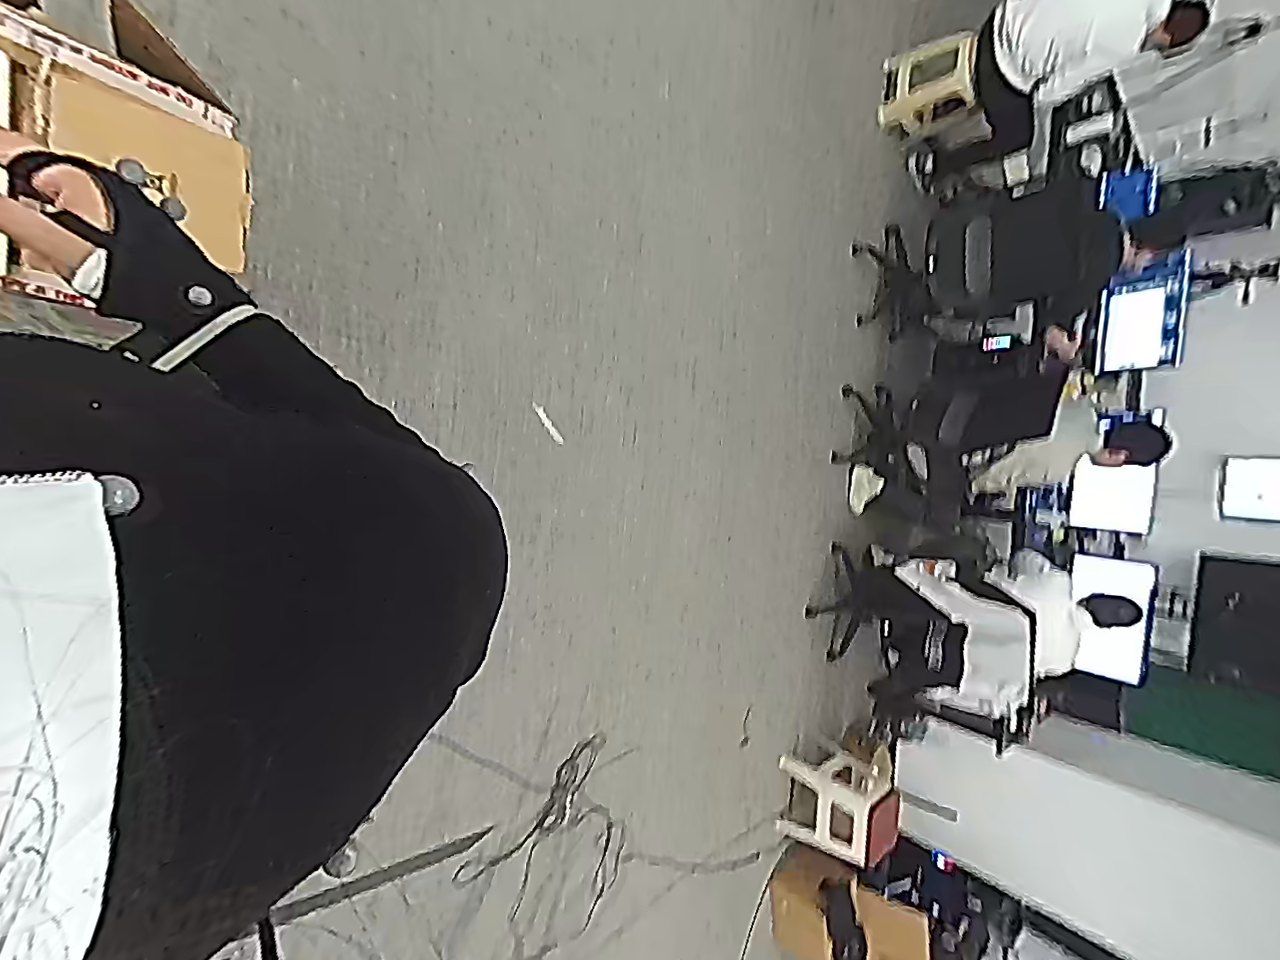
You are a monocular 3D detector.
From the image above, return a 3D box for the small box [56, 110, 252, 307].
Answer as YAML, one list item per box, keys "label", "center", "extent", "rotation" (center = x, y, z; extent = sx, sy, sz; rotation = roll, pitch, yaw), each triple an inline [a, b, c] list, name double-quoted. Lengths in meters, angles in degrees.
- label: "small box"
  center: [-0.638, -0.337, 0.718]
  extent: [0.179, 0.176, 0.168]
  rotation: [2, 93, -42]

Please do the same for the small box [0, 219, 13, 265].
- label: "small box"
  center: [-0.514, -0.217, 0.307]
  extent: [0.168, 0.176, 0.179]
  rotation: [-23, 119, -41]
